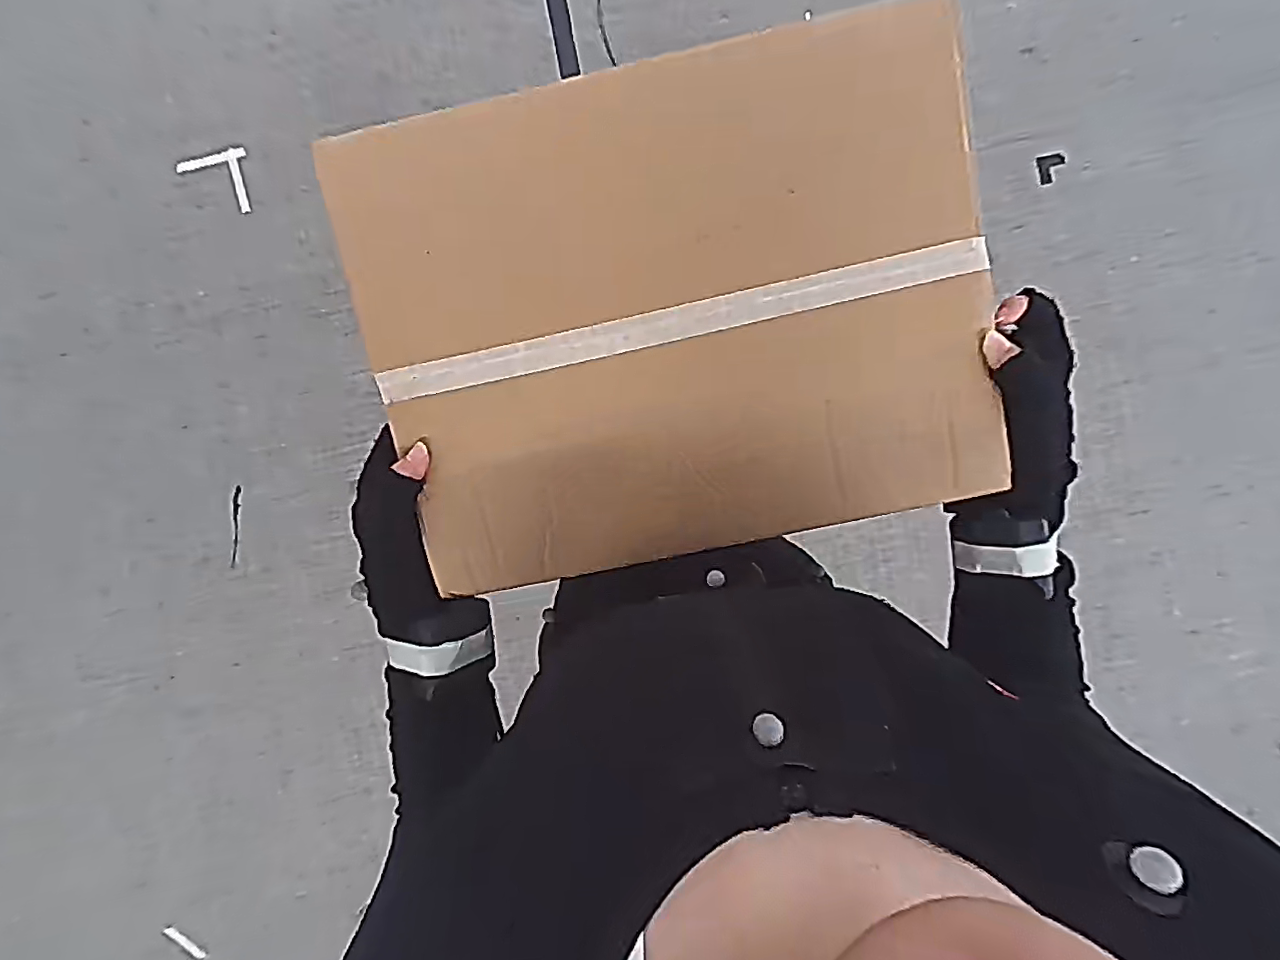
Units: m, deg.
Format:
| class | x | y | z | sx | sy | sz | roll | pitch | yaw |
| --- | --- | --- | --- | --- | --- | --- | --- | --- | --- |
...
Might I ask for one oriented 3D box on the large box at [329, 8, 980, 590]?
| class | x | y | z | sx | sy | sz | roll | pitch | yaw |
| --- | --- | --- | --- | --- | --- | --- | --- | --- | --- |
| large box | 0.021 | -0.131 | 0.516 | 0.408 | 0.320 | 0.320 | -12 | 98 | 3 |
